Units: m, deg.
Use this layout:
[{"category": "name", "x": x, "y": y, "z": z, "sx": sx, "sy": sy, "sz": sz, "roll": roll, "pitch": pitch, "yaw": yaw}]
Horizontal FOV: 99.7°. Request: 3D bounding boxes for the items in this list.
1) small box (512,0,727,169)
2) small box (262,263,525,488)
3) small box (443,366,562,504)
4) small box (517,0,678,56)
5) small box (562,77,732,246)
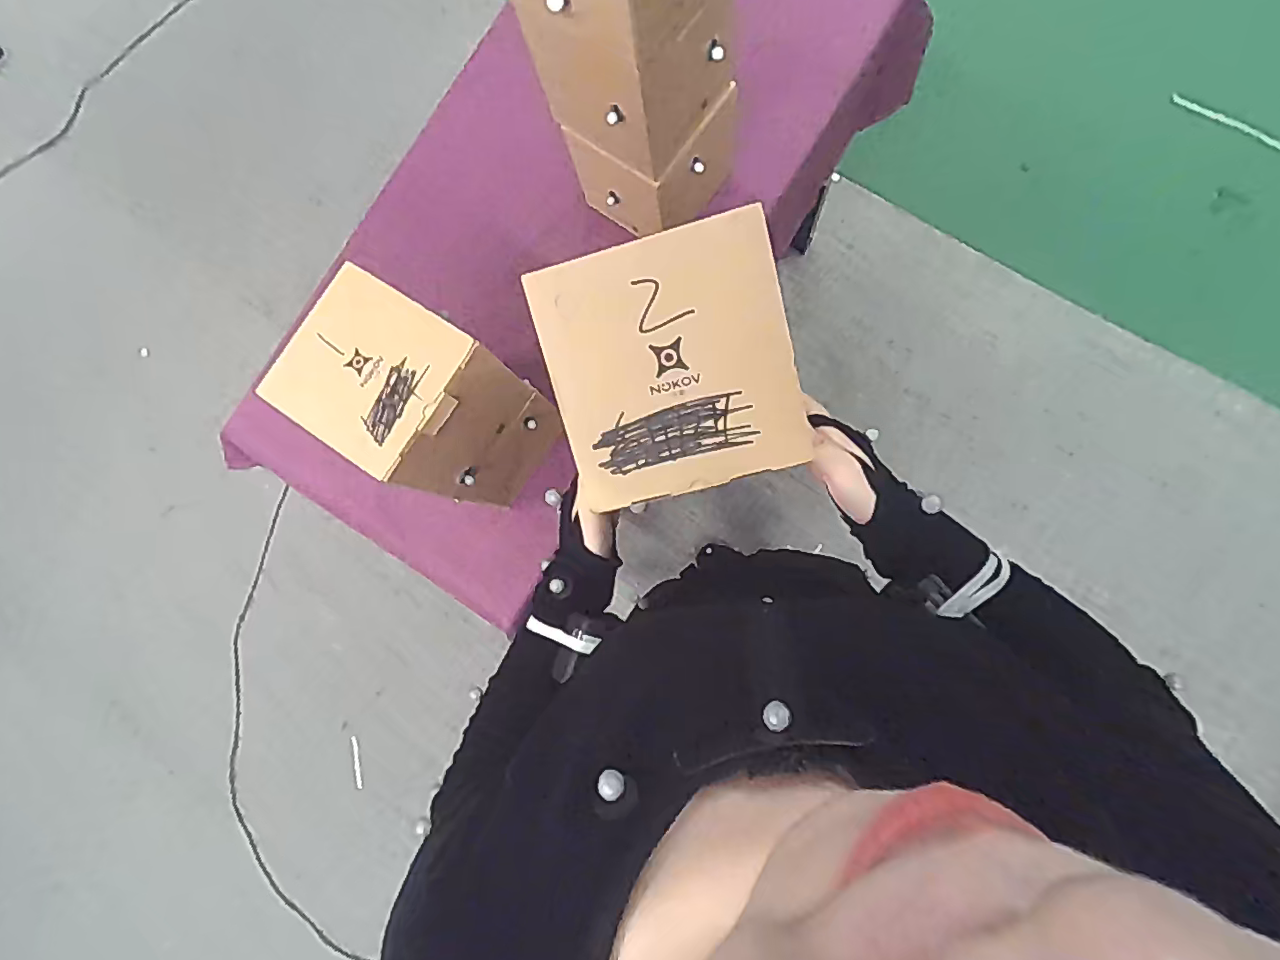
[{"category": "small box", "x": -0.010, "y": -0.510, "z": 0.633, "sx": 0.179, "sy": 0.176, "sz": 0.168, "roll": 37, "pitch": 89, "yaw": 11}, {"category": "small box", "x": -0.262, "y": -0.103, "z": 0.617, "sx": 0.179, "sy": 0.176, "sz": 0.168, "roll": 33, "pitch": 87, "yaw": 13}, {"category": "small box", "x": -0.235, "y": -0.081, "z": 0.778, "sx": 0.168, "sy": 0.176, "sz": 0.179, "roll": 33, "pitch": 88, "yaw": 11}, {"category": "small box", "x": -0.035, "y": -0.529, "z": 0.472, "sx": 0.179, "sy": 0.176, "sz": 0.168, "roll": 37, "pitch": 88, "yaw": 10}, {"category": "small box", "x": 0.020, "y": -0.485, "z": 0.792, "sx": 0.168, "sy": 0.176, "sz": 0.179, "roll": 38, "pitch": 89, "yaw": 10}]
